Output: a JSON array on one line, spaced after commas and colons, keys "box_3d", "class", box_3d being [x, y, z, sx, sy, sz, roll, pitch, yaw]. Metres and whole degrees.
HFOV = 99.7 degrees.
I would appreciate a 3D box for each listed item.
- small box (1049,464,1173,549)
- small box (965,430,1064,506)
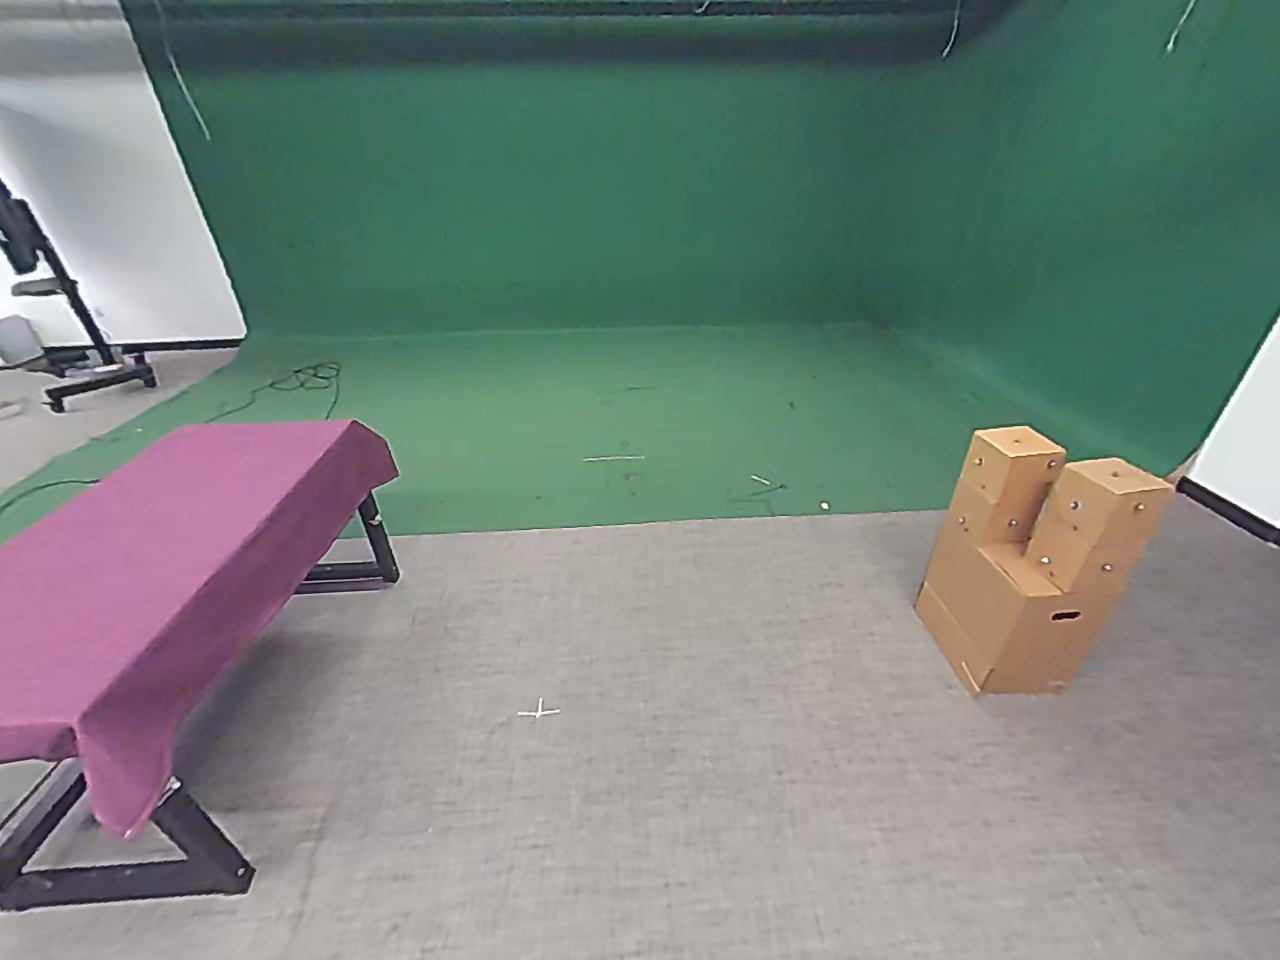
[{"box_3d": [1.266, 0.073, 1.474, 0.179, 0.176, 0.168, -5, 31, -8], "class": "small box"}, {"box_3d": [1.131, -0.035, 1.653, 0.179, 0.176, 0.168, -6, 33, -5], "class": "small box"}]
